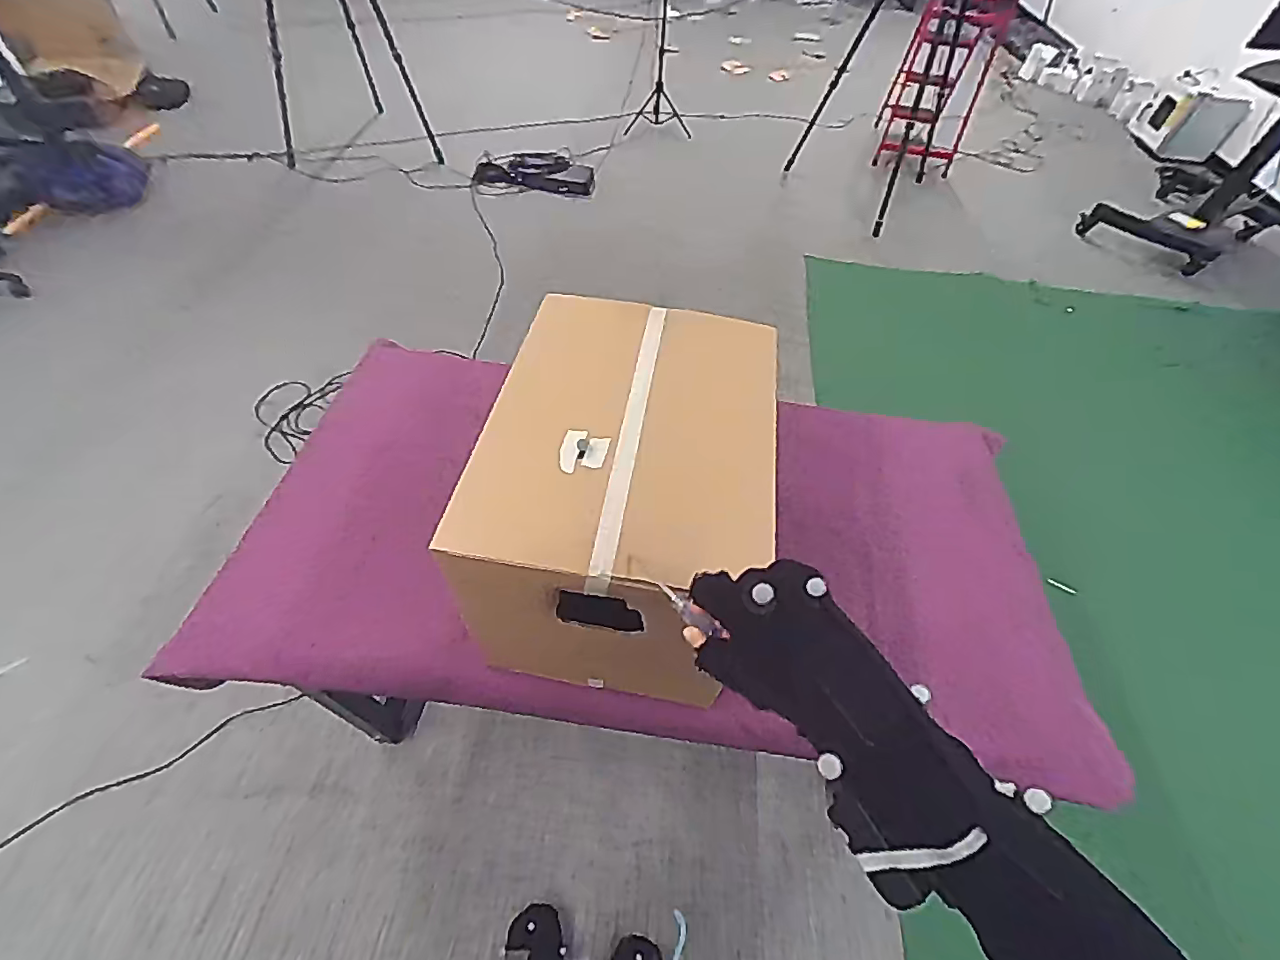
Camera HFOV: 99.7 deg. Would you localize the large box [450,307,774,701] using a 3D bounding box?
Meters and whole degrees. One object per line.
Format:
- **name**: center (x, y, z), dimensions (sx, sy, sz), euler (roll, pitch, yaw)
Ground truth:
- **large box**: center (-0.013, 0.032, 0.735), dimensions (0.320, 0.320, 0.408), euler (10, 53, 3)
